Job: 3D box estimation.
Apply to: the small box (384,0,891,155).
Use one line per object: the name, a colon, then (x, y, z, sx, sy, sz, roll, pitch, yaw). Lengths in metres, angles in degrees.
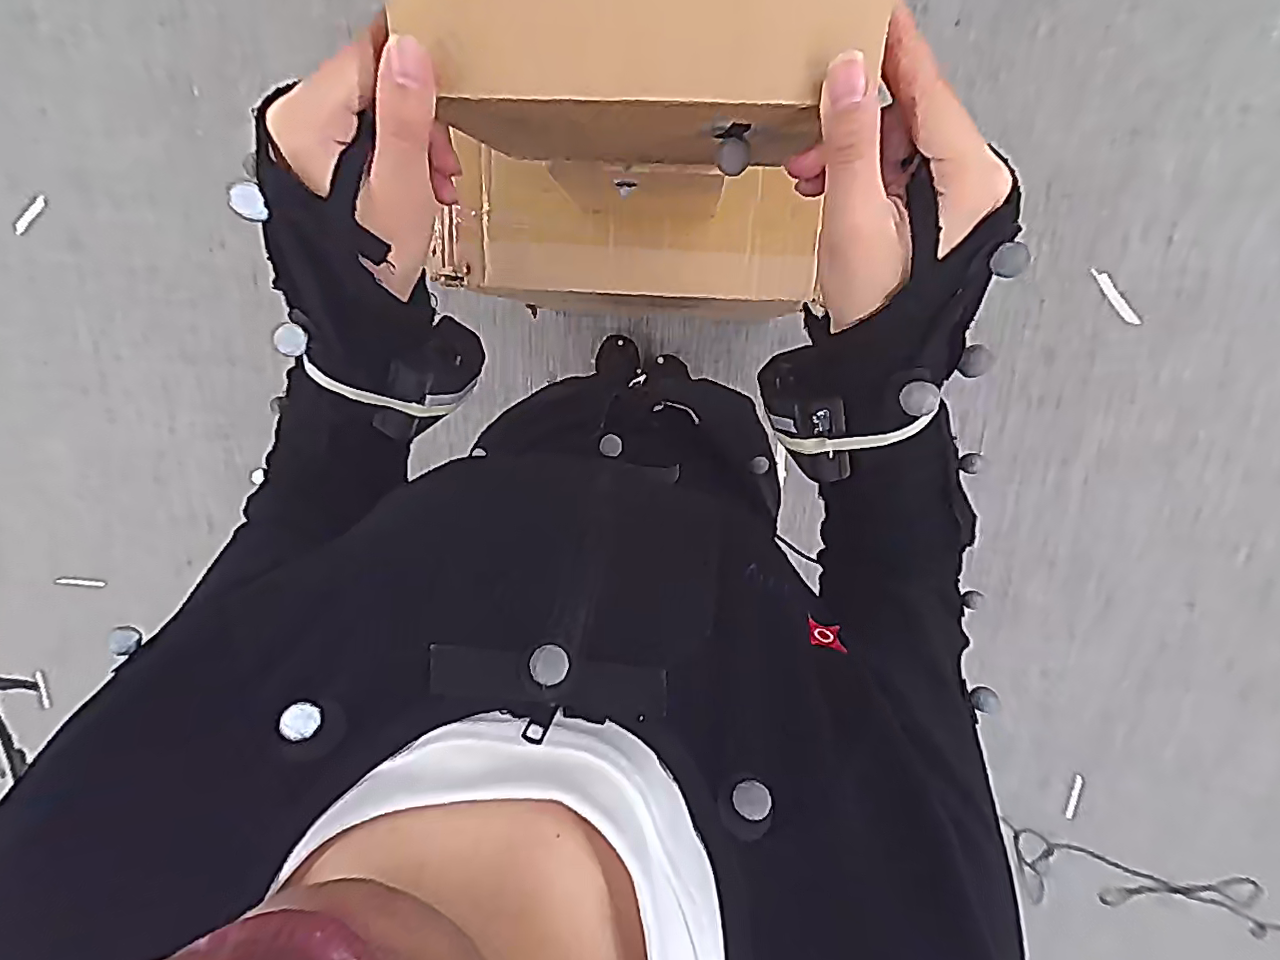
small box: (0.003, -0.249, 0.233, 0.179, 0.176, 0.168, 3, 113, 2)

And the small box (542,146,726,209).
small box: (0.005, -0.391, 0.563, 0.179, 0.176, 0.168, 4, 105, 3)
